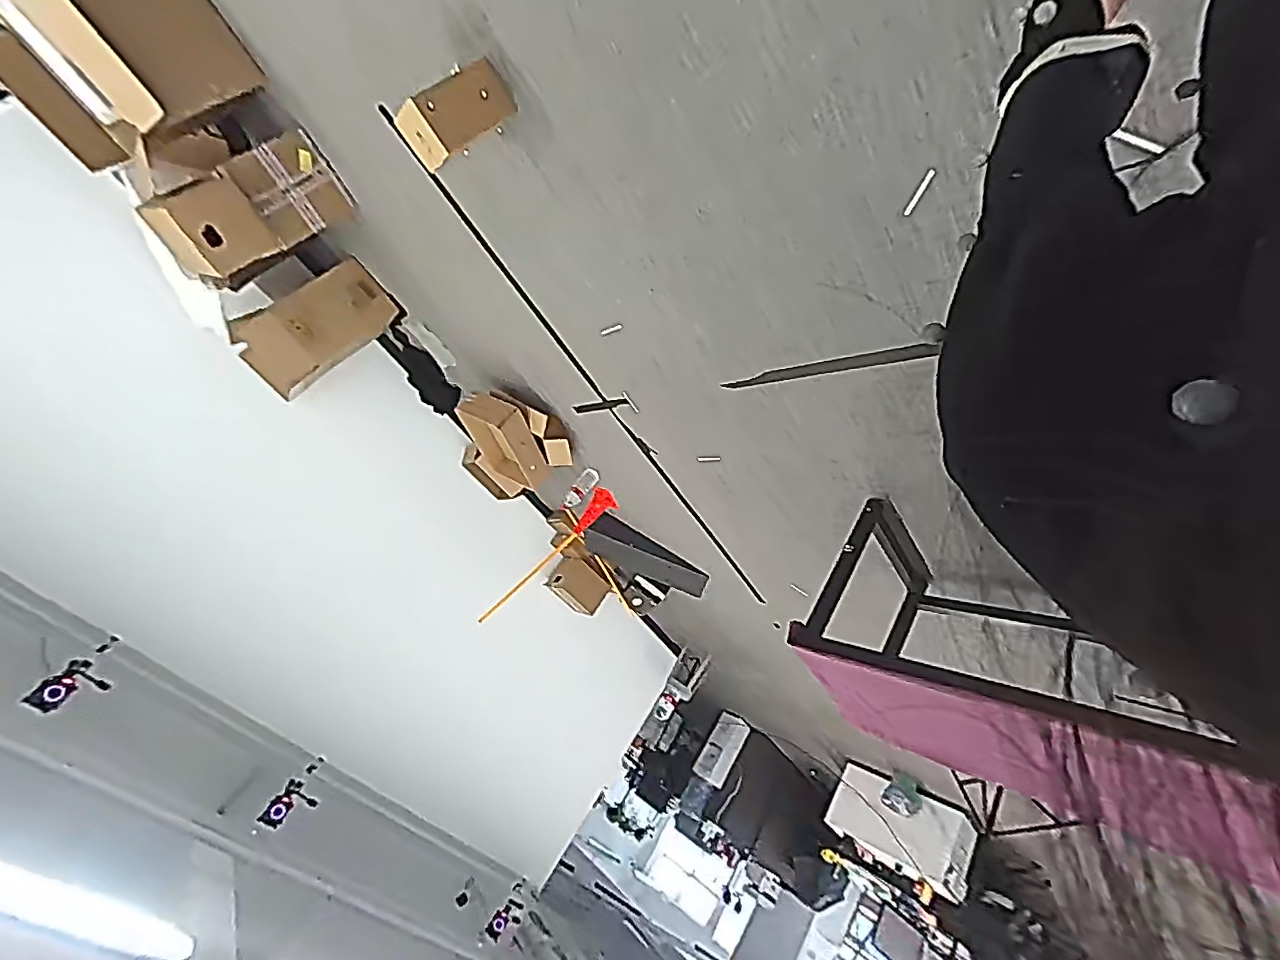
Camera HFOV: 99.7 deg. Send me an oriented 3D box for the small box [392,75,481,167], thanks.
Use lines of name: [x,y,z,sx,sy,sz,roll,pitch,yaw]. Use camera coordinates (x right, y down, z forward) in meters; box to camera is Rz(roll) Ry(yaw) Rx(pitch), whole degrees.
small box: [-0.649,-1.154,1.732,0.168,0.176,0.179,6,140,50]
